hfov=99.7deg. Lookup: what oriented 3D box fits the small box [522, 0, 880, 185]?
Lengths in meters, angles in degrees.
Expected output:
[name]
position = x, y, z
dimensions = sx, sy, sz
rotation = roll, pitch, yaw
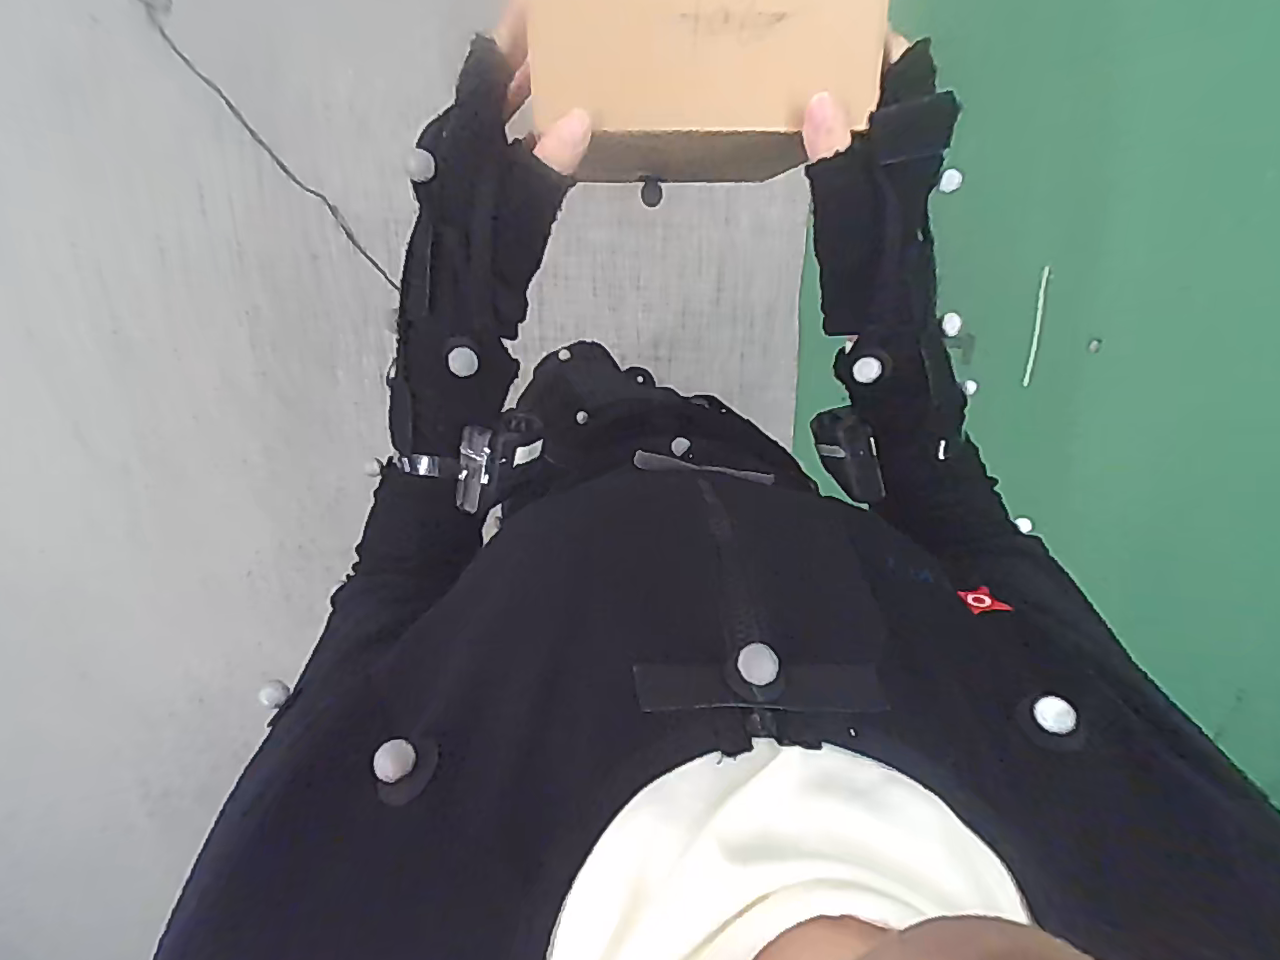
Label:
[small box]
position = 0.020, -0.278, 0.304
dimensions = 0.168, 0.176, 0.179
rotation = -3, 111, -5
